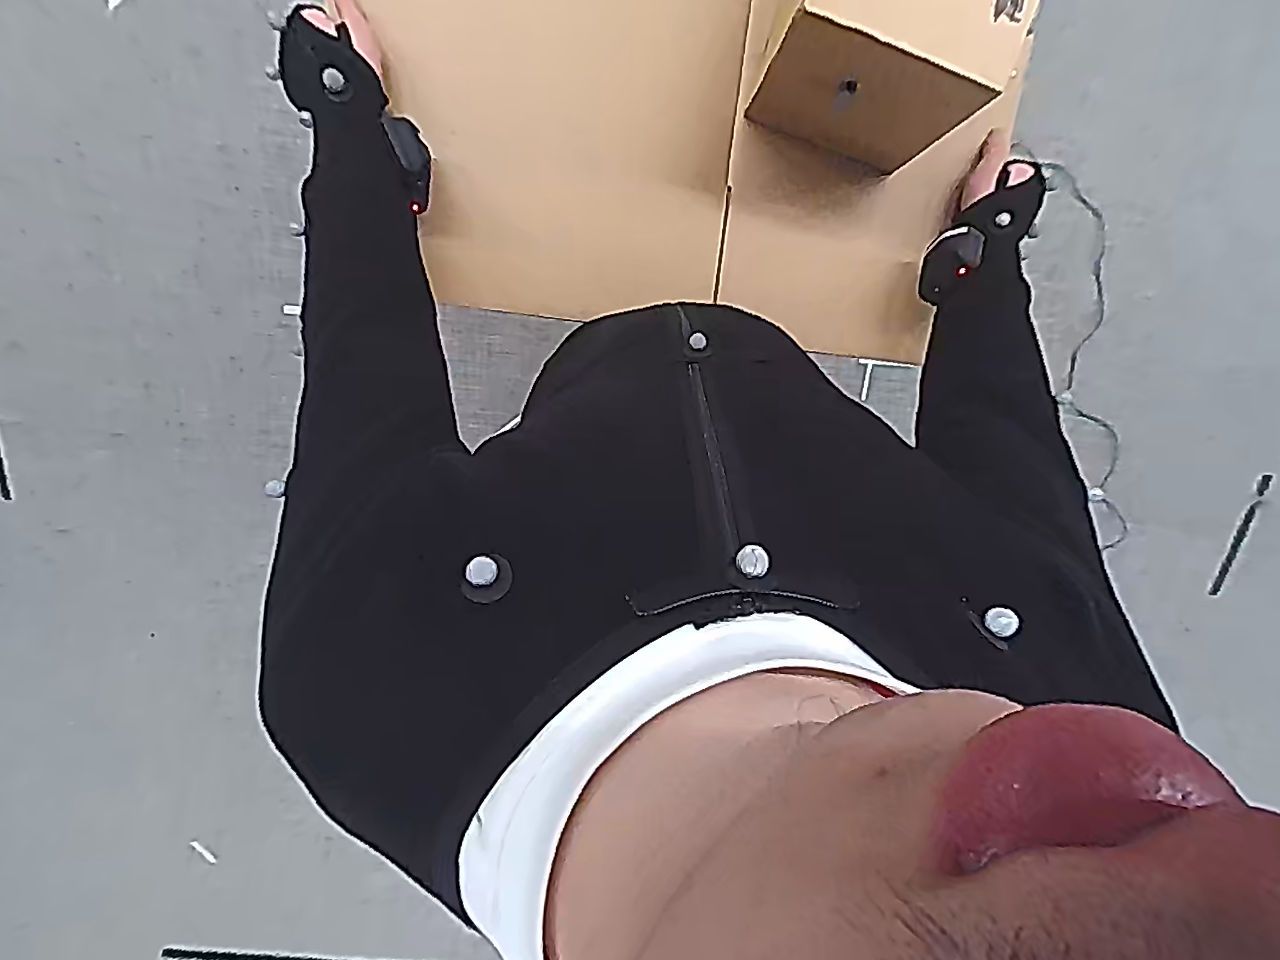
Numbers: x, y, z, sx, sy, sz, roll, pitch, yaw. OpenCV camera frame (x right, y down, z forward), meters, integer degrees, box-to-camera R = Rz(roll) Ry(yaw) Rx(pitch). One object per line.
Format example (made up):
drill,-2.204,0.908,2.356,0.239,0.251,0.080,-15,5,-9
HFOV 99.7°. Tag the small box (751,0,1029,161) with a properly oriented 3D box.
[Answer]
small box,0.218,-0.422,0.484,0.179,0.176,0.168,17,99,-6
